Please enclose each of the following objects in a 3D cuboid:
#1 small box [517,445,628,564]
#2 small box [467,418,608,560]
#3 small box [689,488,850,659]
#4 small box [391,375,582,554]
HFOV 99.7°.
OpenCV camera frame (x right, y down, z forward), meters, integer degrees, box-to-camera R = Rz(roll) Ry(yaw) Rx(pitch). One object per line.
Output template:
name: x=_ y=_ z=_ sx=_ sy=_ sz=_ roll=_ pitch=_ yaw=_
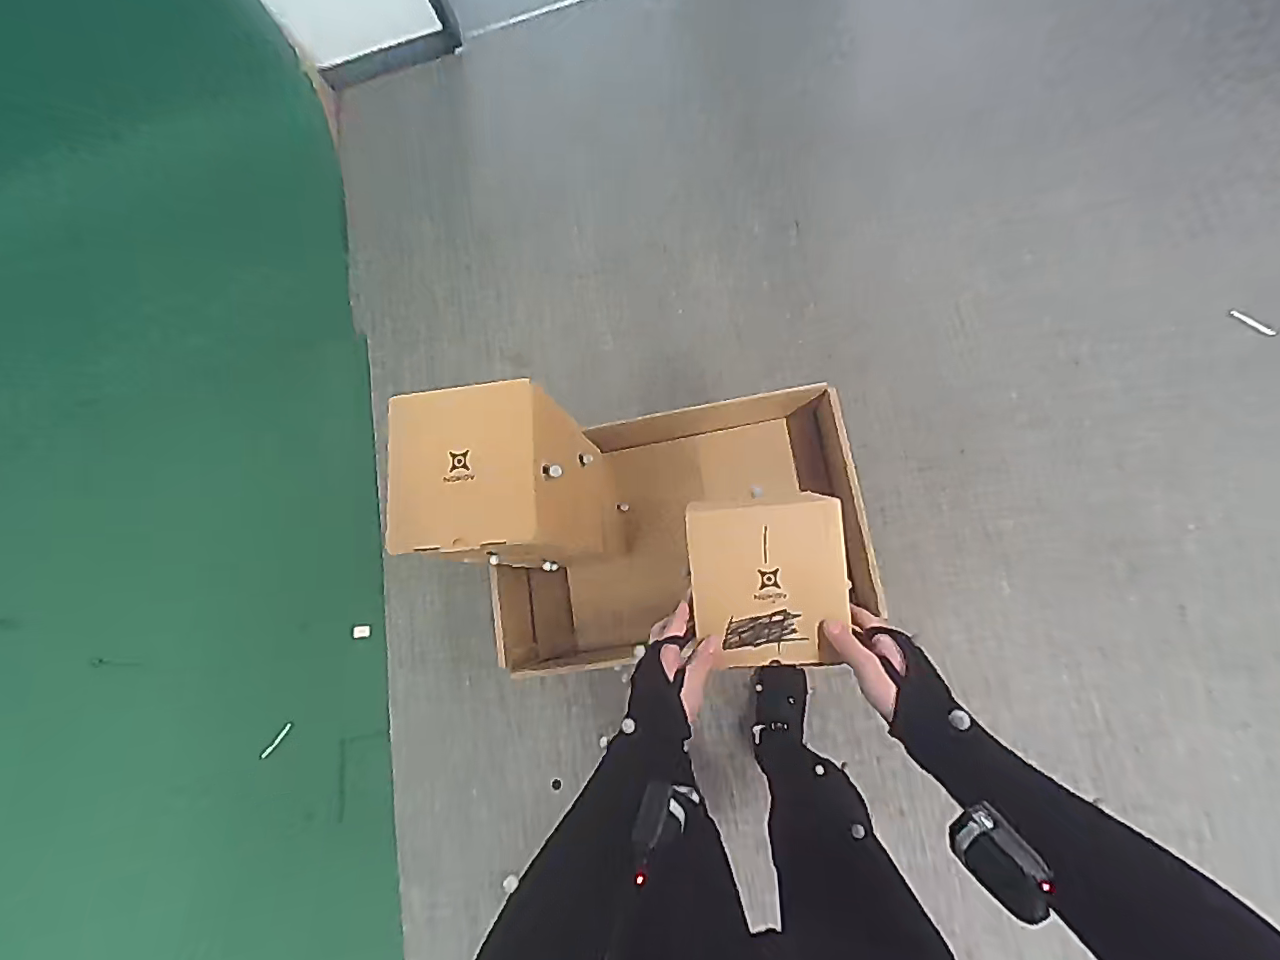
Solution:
small box: x=-0.121 y=0.051 z=0.963 sx=0.168 sy=0.176 sz=0.179 roll=-8 pitch=79 yaw=8
small box: x=-0.148 y=0.022 z=0.804 sx=0.168 sy=0.176 sz=0.179 roll=-6 pitch=79 yaw=9
small box: x=0.148 y=0.104 z=0.661 sx=0.168 sy=0.176 sz=0.179 roll=-4 pitch=91 yaw=6
small box: x=-0.171 y=-0.007 z=0.646 sx=0.168 sy=0.176 sz=0.179 roll=-5 pitch=80 yaw=9
